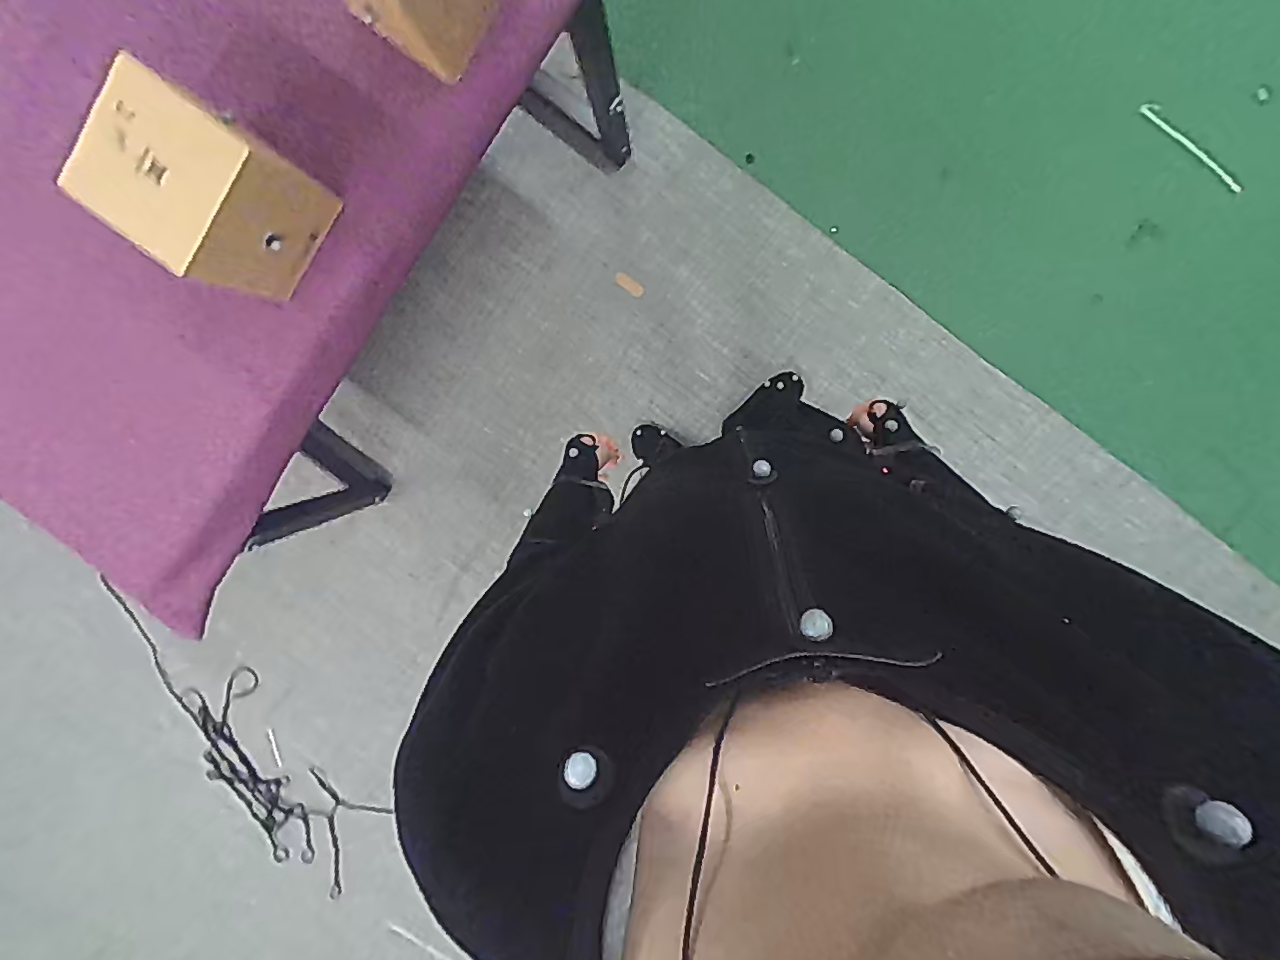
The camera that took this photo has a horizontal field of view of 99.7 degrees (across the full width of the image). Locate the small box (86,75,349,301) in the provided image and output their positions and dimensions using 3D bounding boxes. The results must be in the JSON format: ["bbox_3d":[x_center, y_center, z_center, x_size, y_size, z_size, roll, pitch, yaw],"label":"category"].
[{"bbox_3d":[-0.523,-0.351,0.696,0.179,0.176,0.168,37,100,0],"label":"small box"}]

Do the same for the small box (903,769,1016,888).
[{"bbox_3d":[0.847,0.929,1.457,0.168,0.176,0.179,28,100,1],"label":"small box"}]

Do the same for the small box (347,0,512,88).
[{"bbox_3d":[-0.263,-0.621,0.630,0.168,0.176,0.179,35,102,-2],"label":"small box"}]
